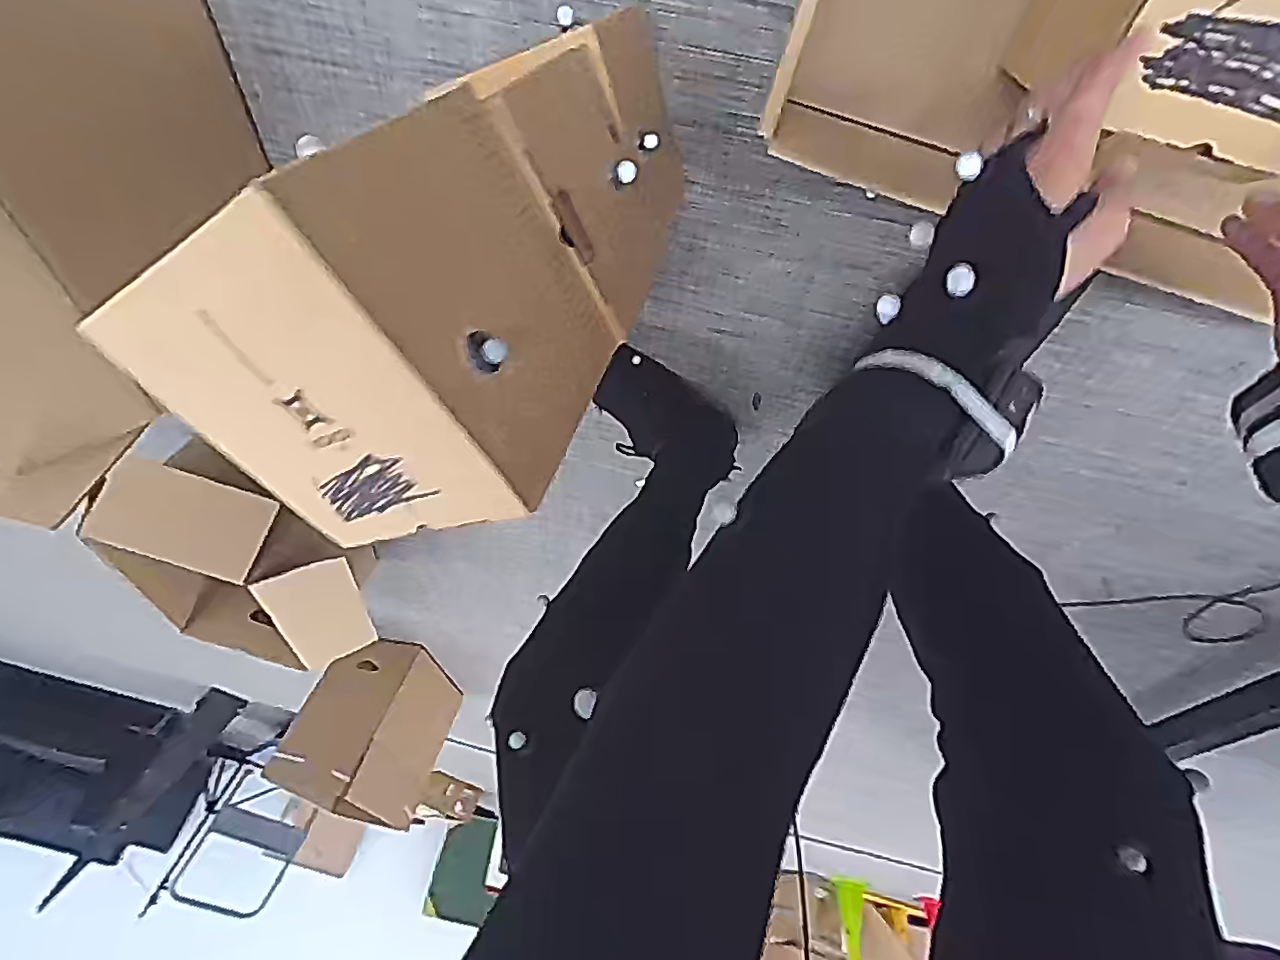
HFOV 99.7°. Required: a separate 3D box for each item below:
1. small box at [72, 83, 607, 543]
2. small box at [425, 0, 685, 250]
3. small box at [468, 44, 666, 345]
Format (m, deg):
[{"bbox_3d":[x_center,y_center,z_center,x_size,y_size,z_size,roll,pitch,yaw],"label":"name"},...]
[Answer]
[{"bbox_3d":[-0.141,-0.088,0.318,0.168,0.176,0.179,-11,130,28],"label":"small box"},{"bbox_3d":[-0.062,-0.329,0.529,0.168,0.176,0.179,-3,134,21],"label":"small box"},{"bbox_3d":[-0.099,-0.202,0.430,0.179,0.176,0.168,-11,131,27],"label":"small box"}]
